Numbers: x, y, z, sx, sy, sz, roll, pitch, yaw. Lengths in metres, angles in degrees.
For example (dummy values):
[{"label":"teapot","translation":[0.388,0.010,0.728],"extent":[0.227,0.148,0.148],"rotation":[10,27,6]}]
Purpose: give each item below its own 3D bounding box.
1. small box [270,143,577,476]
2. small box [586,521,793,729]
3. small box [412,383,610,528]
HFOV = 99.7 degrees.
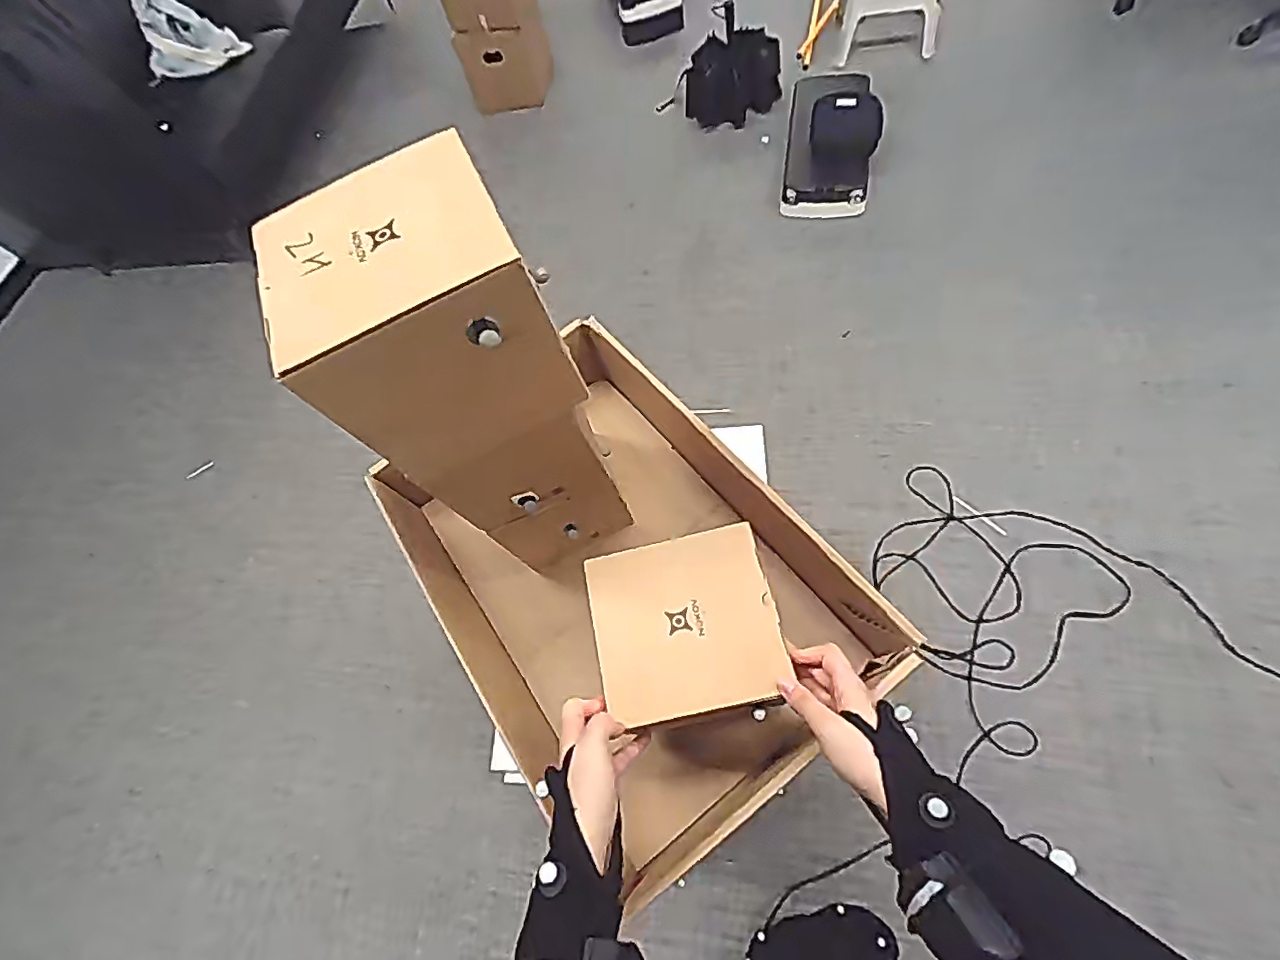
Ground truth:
[{"label":"small box","translation":[-0.168,-0.133,0.463],"extent":[0.179,0.176,0.168],"rotation":[-27,62,0]},{"label":"small box","translation":[0.054,0.168,0.594],"extent":[0.179,0.176,0.168],"rotation":[-14,62,3]},{"label":"small box","translation":[-0.151,-0.072,0.616],"extent":[0.168,0.176,0.179],"rotation":[-24,64,2]}]
